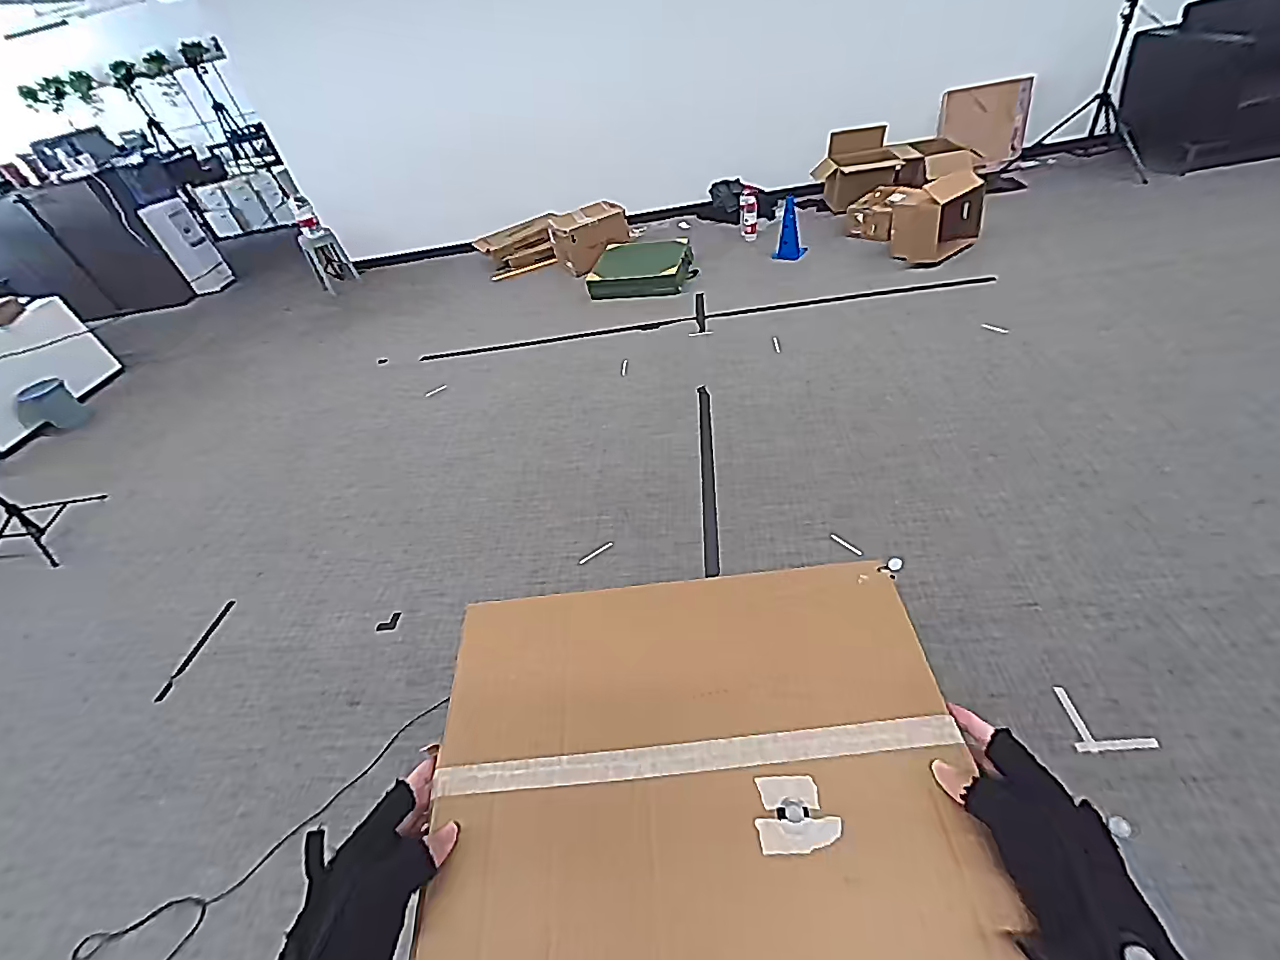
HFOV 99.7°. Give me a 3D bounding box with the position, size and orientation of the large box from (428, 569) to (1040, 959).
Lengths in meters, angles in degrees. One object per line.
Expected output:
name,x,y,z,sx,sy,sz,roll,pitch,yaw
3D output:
large box,0.058,0.323,0.543,0.408,0.320,0.320,-7,49,2
